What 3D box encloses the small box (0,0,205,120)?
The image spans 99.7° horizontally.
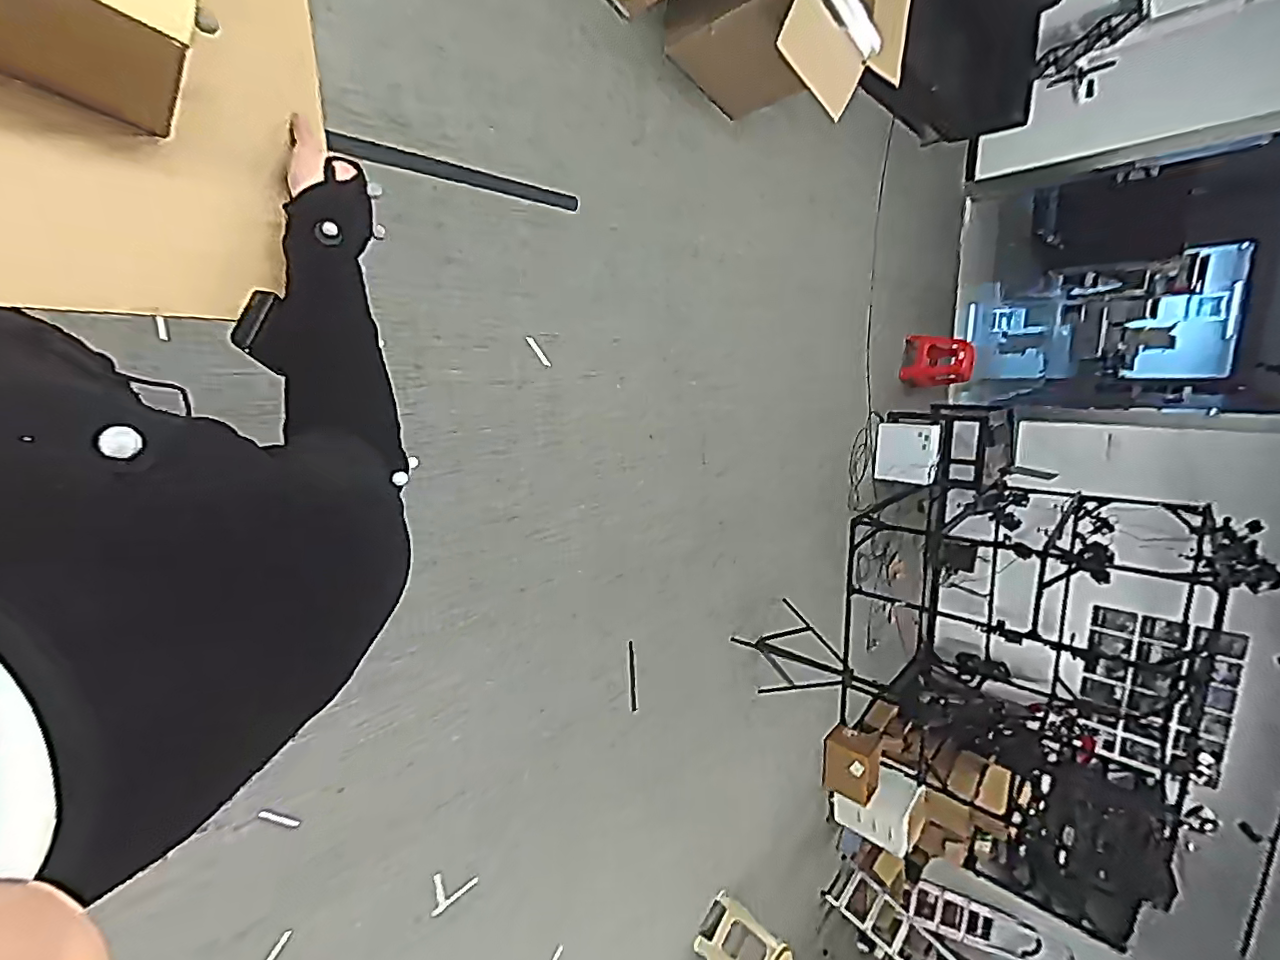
[{"bbox_3d":[-0.397,-0.374,0.350,0.179,0.176,0.168,7,91,-44],"label":"small box"}]
